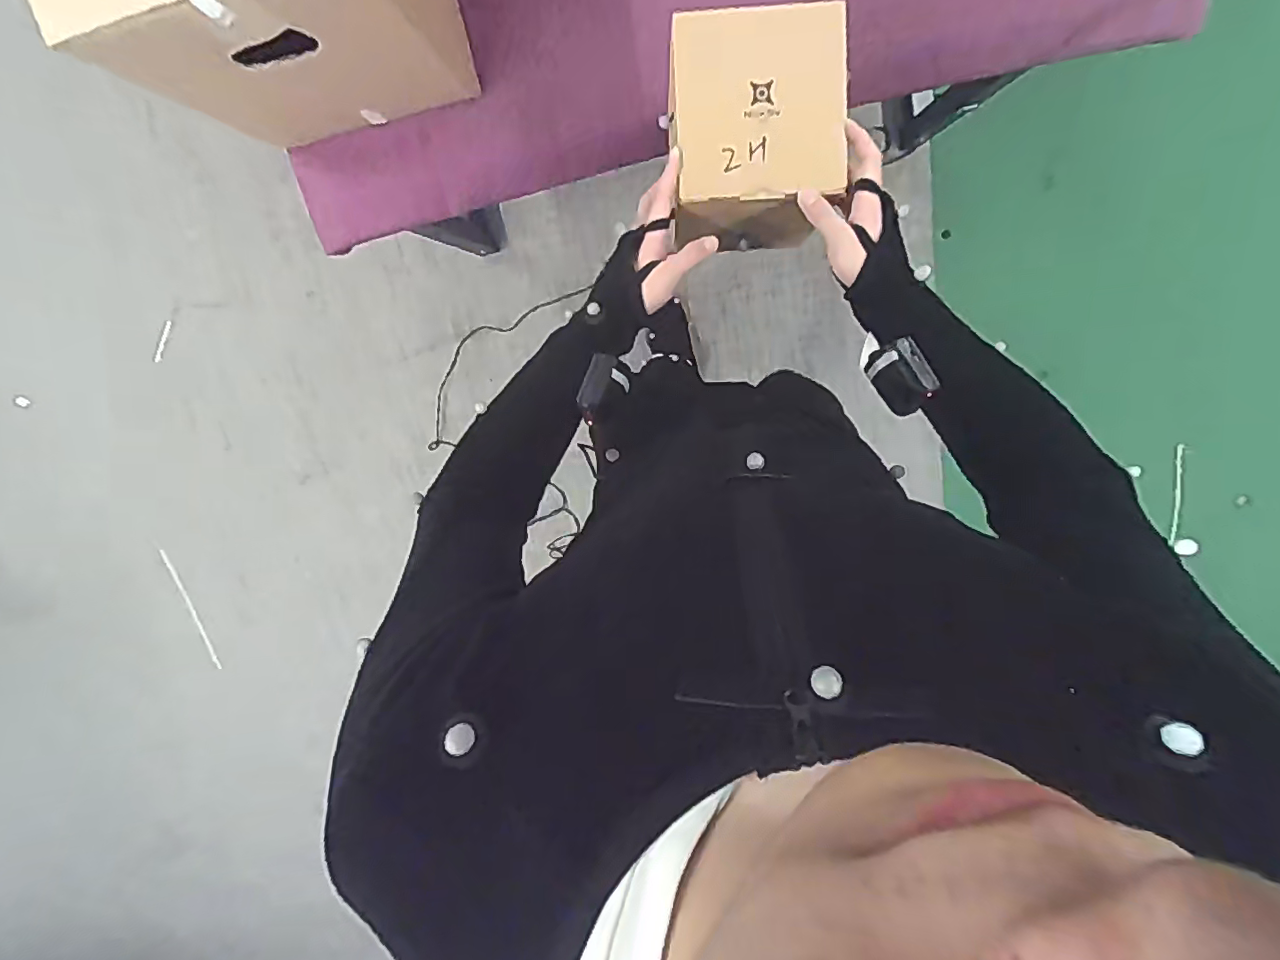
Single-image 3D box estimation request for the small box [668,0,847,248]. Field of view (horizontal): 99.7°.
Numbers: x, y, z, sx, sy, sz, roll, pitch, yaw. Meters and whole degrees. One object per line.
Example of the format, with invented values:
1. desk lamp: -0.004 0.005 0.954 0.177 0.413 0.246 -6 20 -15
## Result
1. small box: 0.116 -0.374 0.596 0.168 0.176 0.179 -1 97 2
